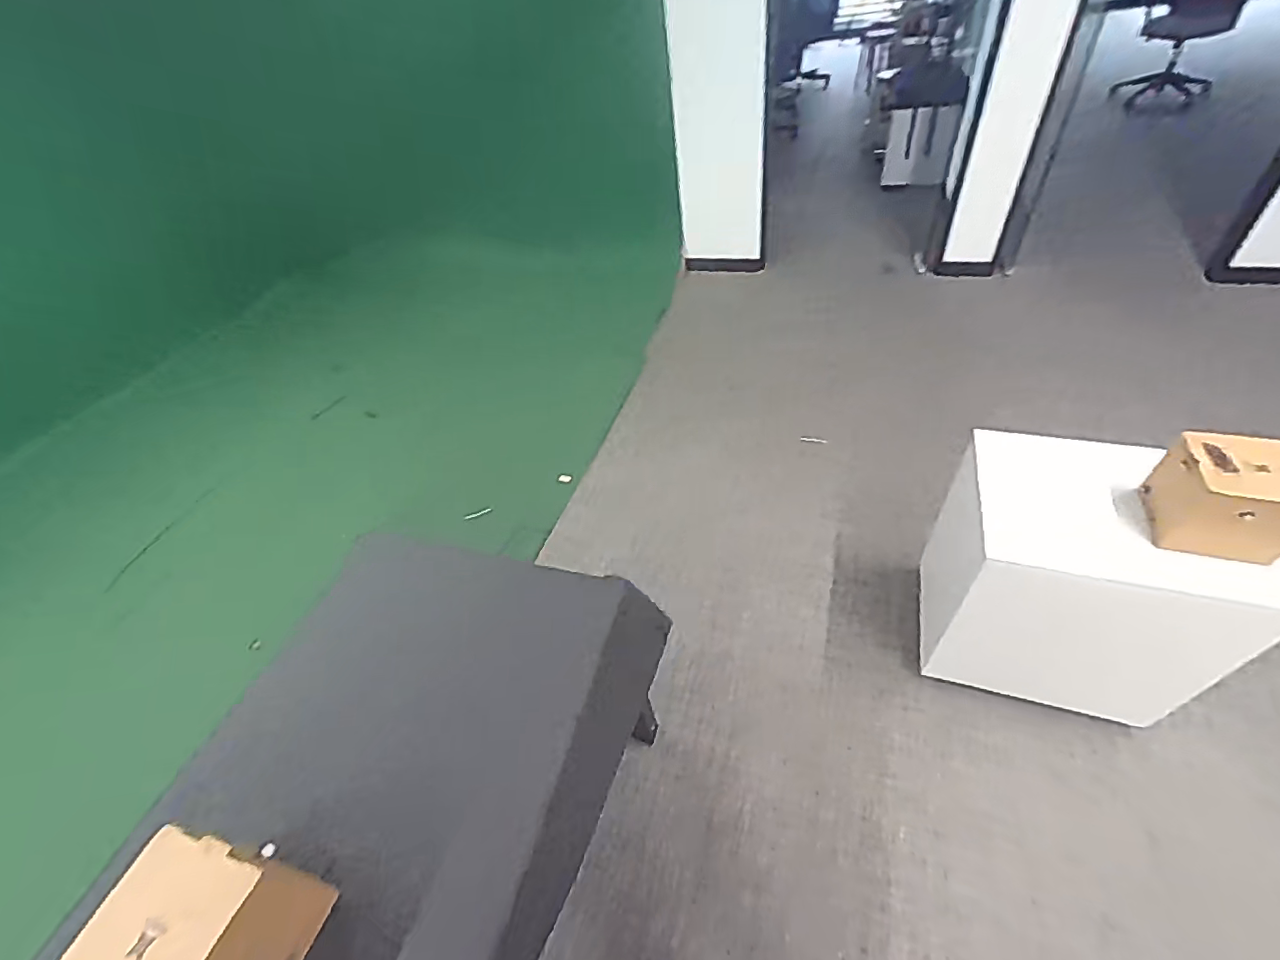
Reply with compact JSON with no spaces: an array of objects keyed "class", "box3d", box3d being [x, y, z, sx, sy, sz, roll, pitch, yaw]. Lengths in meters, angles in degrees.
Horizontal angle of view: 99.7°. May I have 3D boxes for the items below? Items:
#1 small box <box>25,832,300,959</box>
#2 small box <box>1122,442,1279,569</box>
[{"class":"small box","box3d":[-0.516,0.528,0.591,0.168,0.176,0.179,9,47,16]},{"class":"small box","box3d":[1.087,0.052,1.050,0.179,0.176,0.168,11,48,16]}]
